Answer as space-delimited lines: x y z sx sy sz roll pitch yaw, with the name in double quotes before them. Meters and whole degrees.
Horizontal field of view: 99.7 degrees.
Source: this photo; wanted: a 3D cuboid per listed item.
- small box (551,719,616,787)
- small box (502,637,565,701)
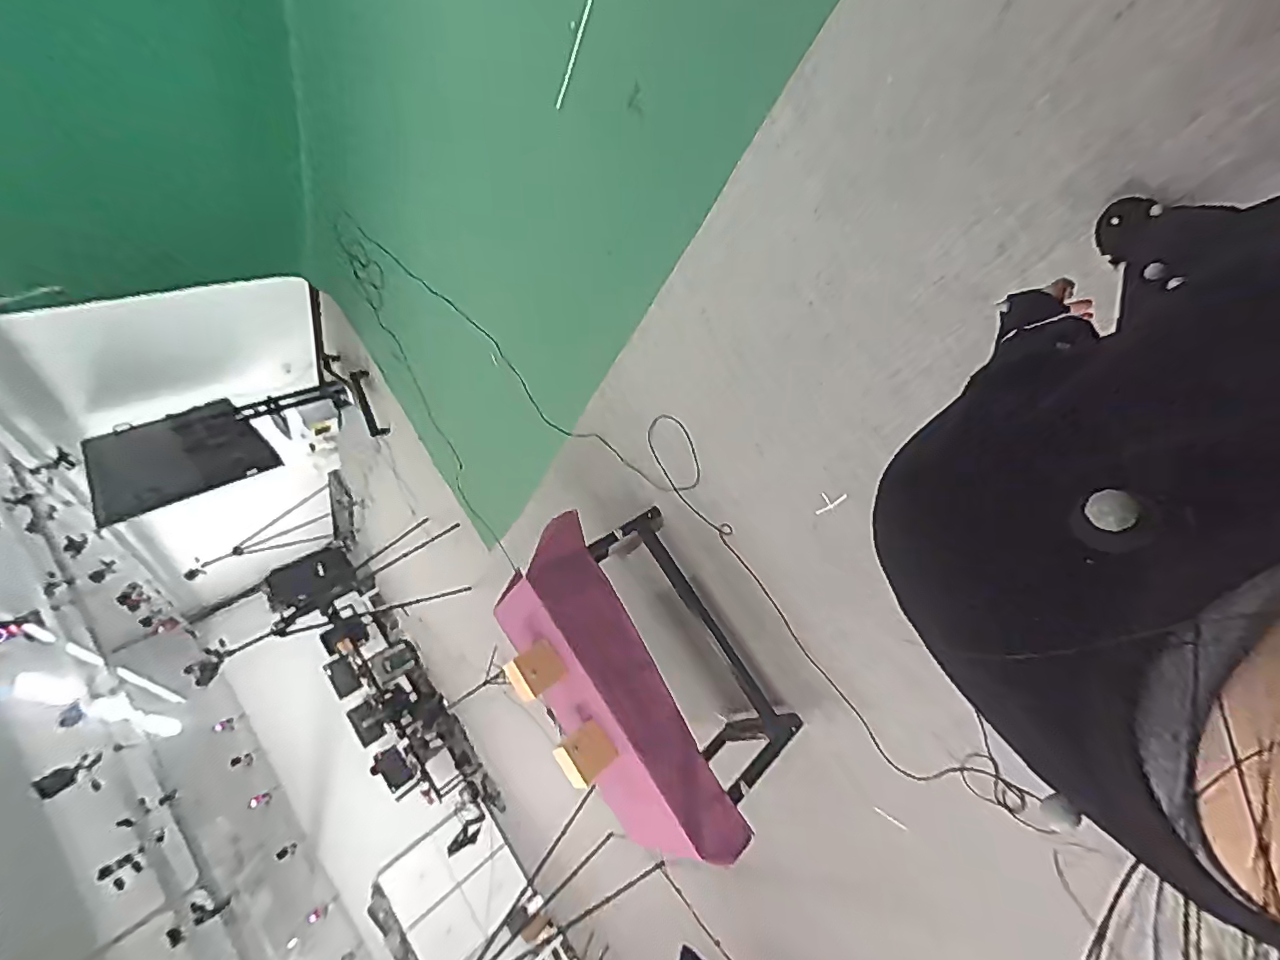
"small box" -0.225 1.089 2.159 0.179 0.176 0.168 54 143 12
"small box" -0.432 0.769 2.202 0.179 0.176 0.168 57 143 8
